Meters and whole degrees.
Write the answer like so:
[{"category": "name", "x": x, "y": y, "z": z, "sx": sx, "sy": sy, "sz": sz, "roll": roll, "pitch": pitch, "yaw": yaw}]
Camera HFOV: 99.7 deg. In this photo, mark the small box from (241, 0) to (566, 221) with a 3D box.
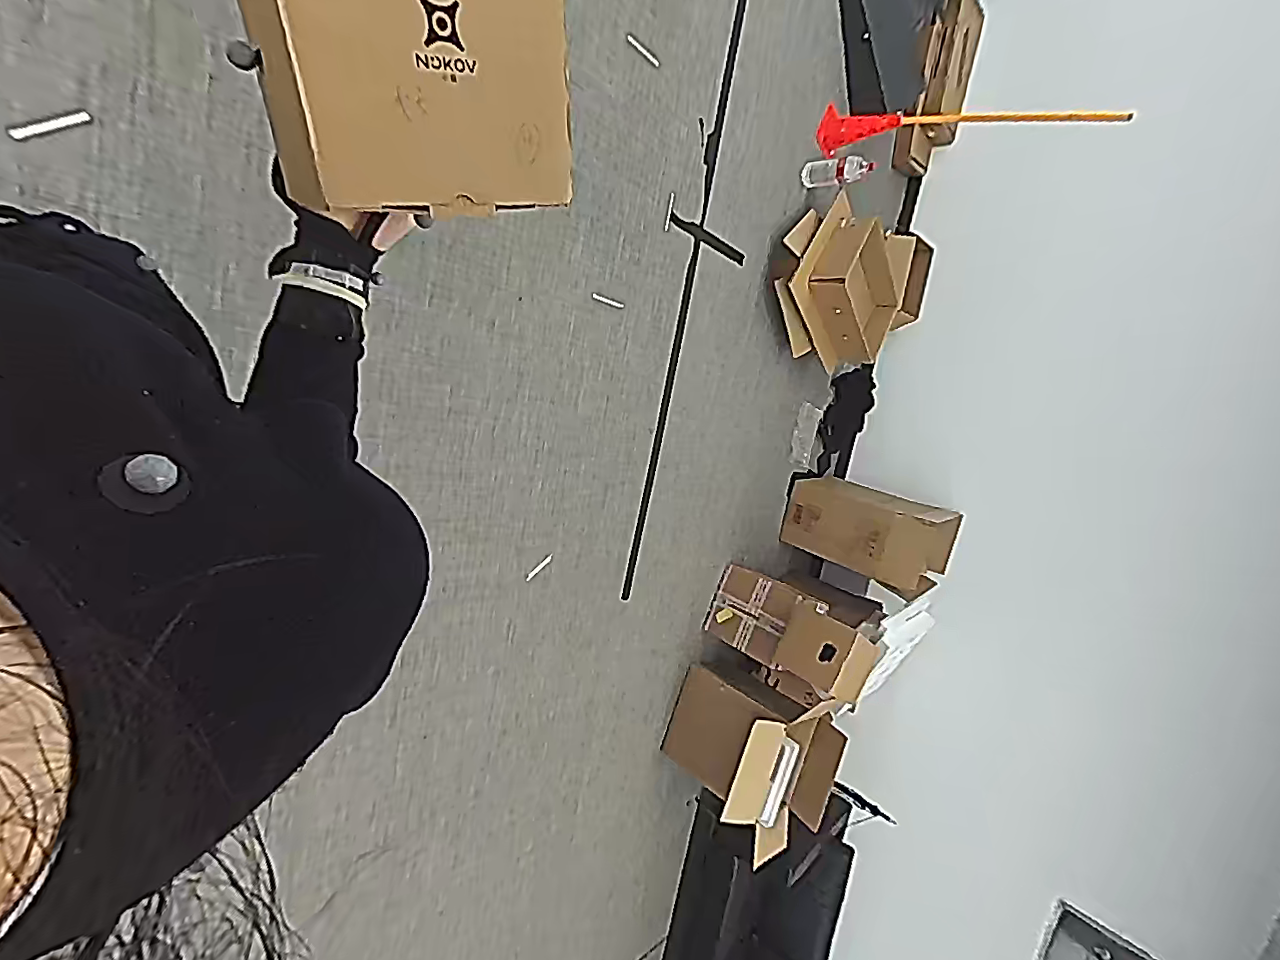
[{"category": "small box", "x": -0.166, "y": -0.288, "z": 0.381, "sx": 0.168, "sy": 0.176, "sz": 0.179, "roll": -19, "pitch": 126, "yaw": -32}]
